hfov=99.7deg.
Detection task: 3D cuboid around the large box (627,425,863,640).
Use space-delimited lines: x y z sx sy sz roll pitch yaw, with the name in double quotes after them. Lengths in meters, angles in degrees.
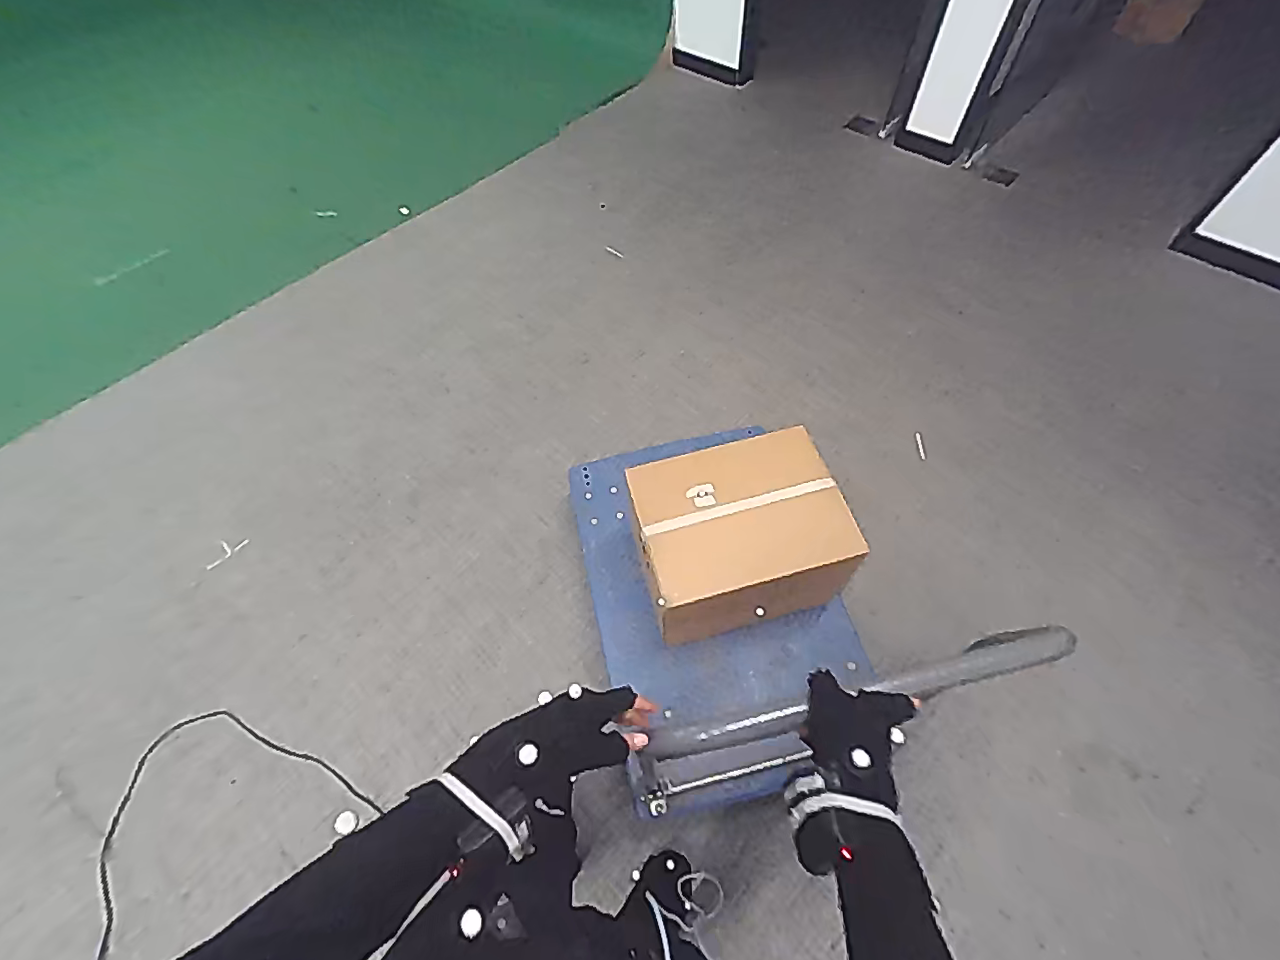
0.212 0.129 1.220 0.408 0.320 0.320 -15 60 -4 "large box"
